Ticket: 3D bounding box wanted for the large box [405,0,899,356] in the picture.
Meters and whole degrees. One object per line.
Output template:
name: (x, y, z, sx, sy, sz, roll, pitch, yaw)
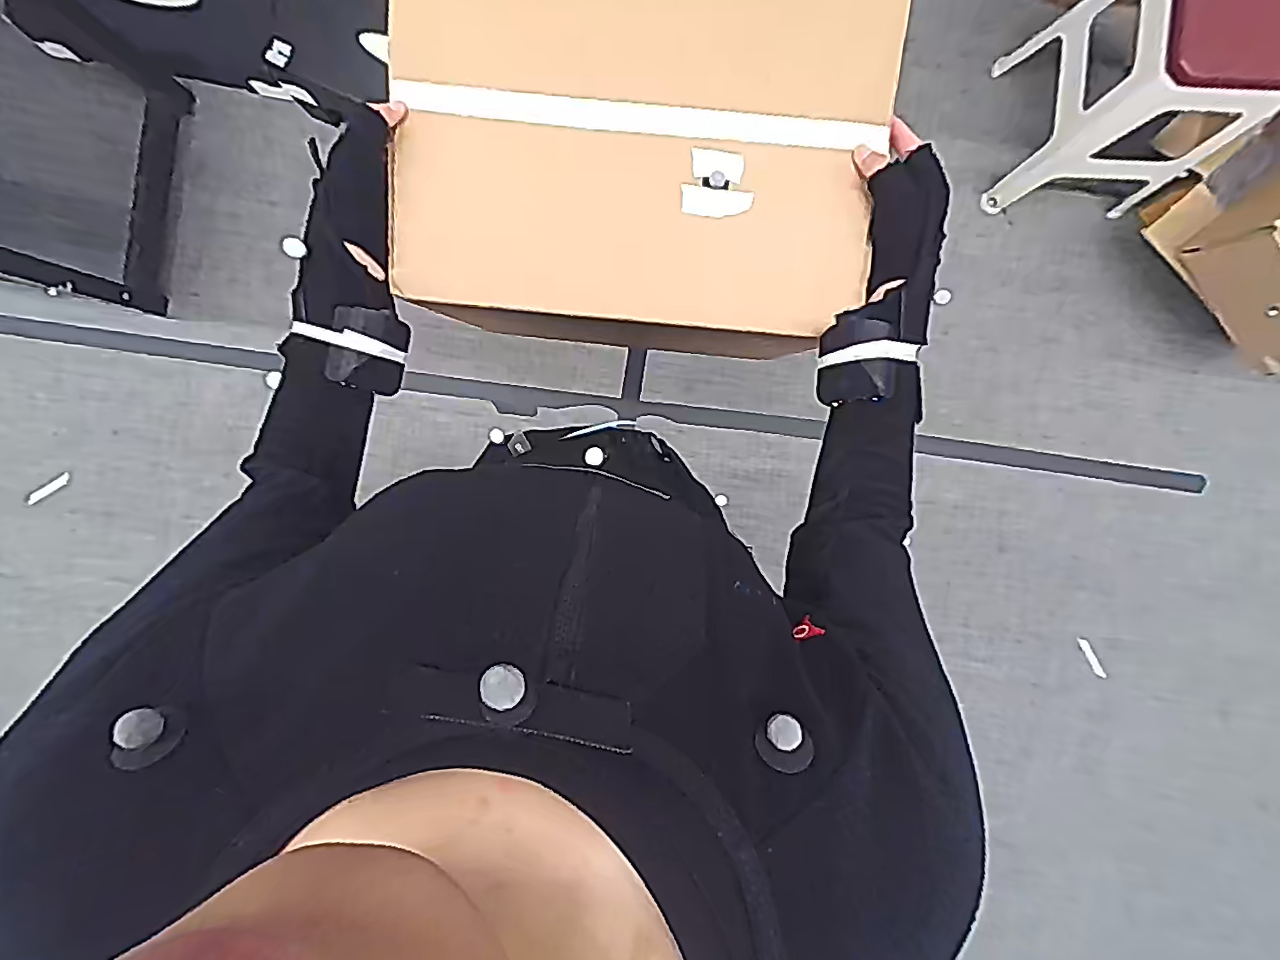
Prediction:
large box: (0.000, -0.318, 0.600, 0.408, 0.320, 0.320, 5, 100, -2)
